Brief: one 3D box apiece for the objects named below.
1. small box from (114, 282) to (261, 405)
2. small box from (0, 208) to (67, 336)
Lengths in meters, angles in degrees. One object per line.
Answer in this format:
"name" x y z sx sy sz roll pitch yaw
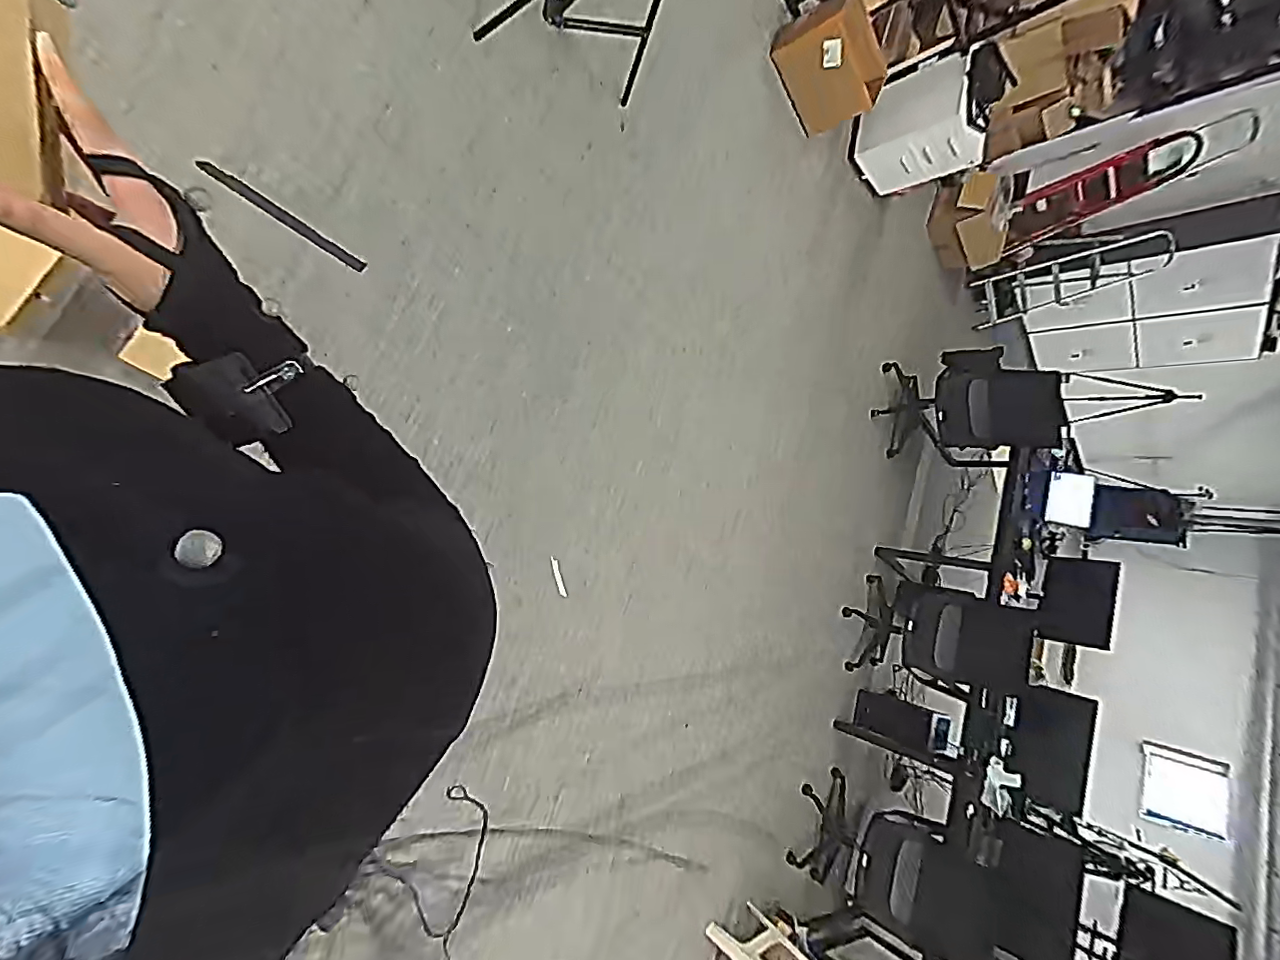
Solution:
"small box" -0.923 -0.267 1.108 0.168 0.176 0.179 38 67 -39
"small box" -1.124 -0.367 0.911 0.168 0.176 0.179 34 70 -40
